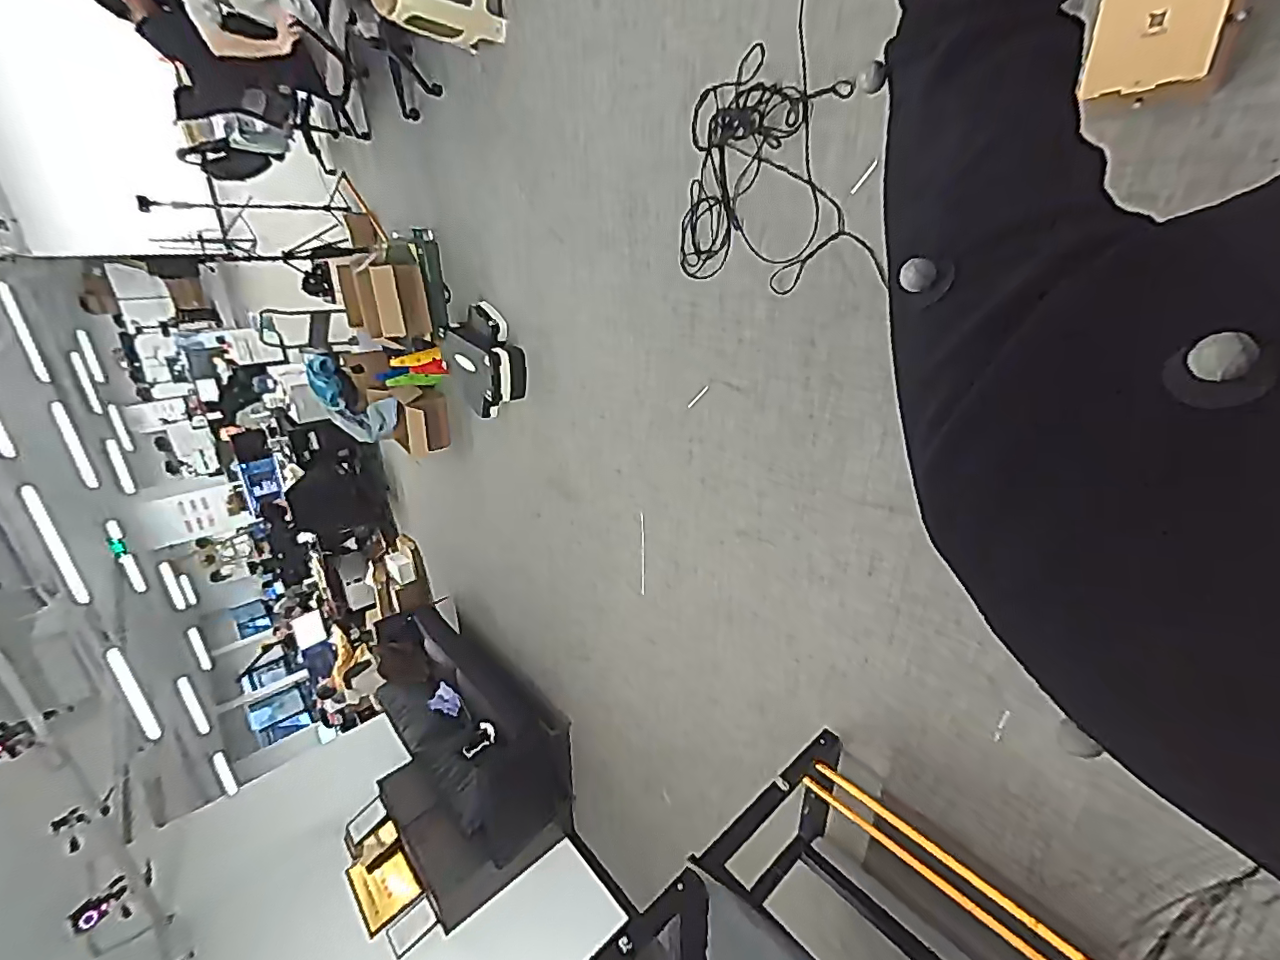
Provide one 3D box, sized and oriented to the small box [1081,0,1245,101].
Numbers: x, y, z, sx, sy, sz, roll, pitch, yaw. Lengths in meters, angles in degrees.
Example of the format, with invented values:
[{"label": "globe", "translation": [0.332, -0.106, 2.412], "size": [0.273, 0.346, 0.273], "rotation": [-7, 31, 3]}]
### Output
[{"label": "small box", "translation": [0.888, -0.770, 0.912], "size": [0.168, 0.176, 0.179], "rotation": [22, 123, 44]}]
